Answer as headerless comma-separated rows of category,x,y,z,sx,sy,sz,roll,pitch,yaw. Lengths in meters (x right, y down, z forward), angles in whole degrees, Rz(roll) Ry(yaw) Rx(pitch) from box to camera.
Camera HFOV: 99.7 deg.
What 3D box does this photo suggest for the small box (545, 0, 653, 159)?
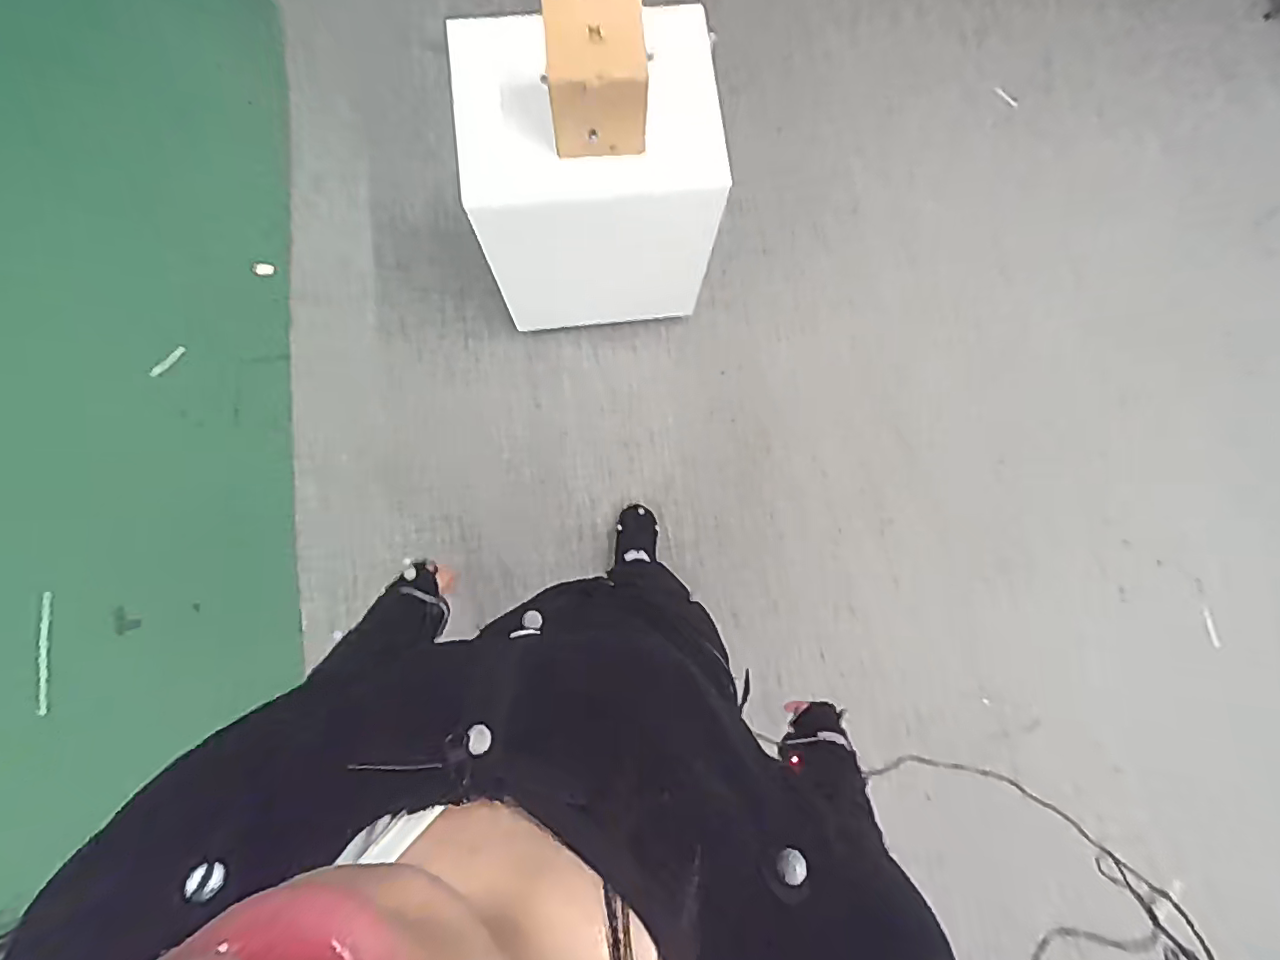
small box,-0.071,-0.703,0.950,0.168,0.176,0.179,-5,81,-3
